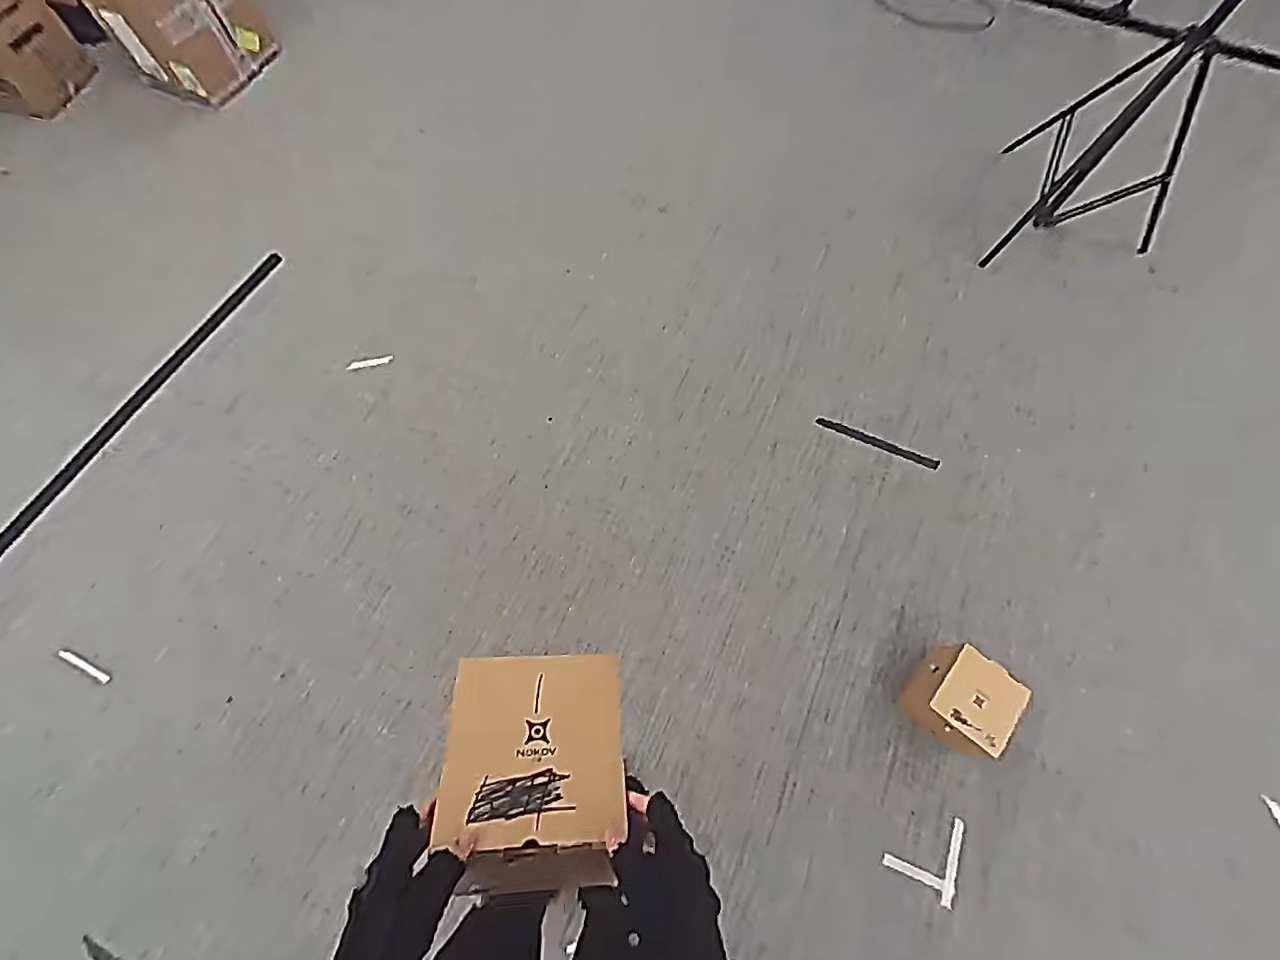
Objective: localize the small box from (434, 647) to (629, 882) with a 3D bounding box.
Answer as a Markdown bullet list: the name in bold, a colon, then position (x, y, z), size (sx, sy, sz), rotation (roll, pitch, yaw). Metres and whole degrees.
- **small box**: position (-0.102, 0.297, 0.564), size (0.168, 0.176, 0.179), rotation (1, 42, -8)

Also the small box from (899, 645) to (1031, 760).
- **small box**: position (0.736, 0.507, 1.245), size (0.168, 0.176, 0.179), rotation (39, 72, 13)
